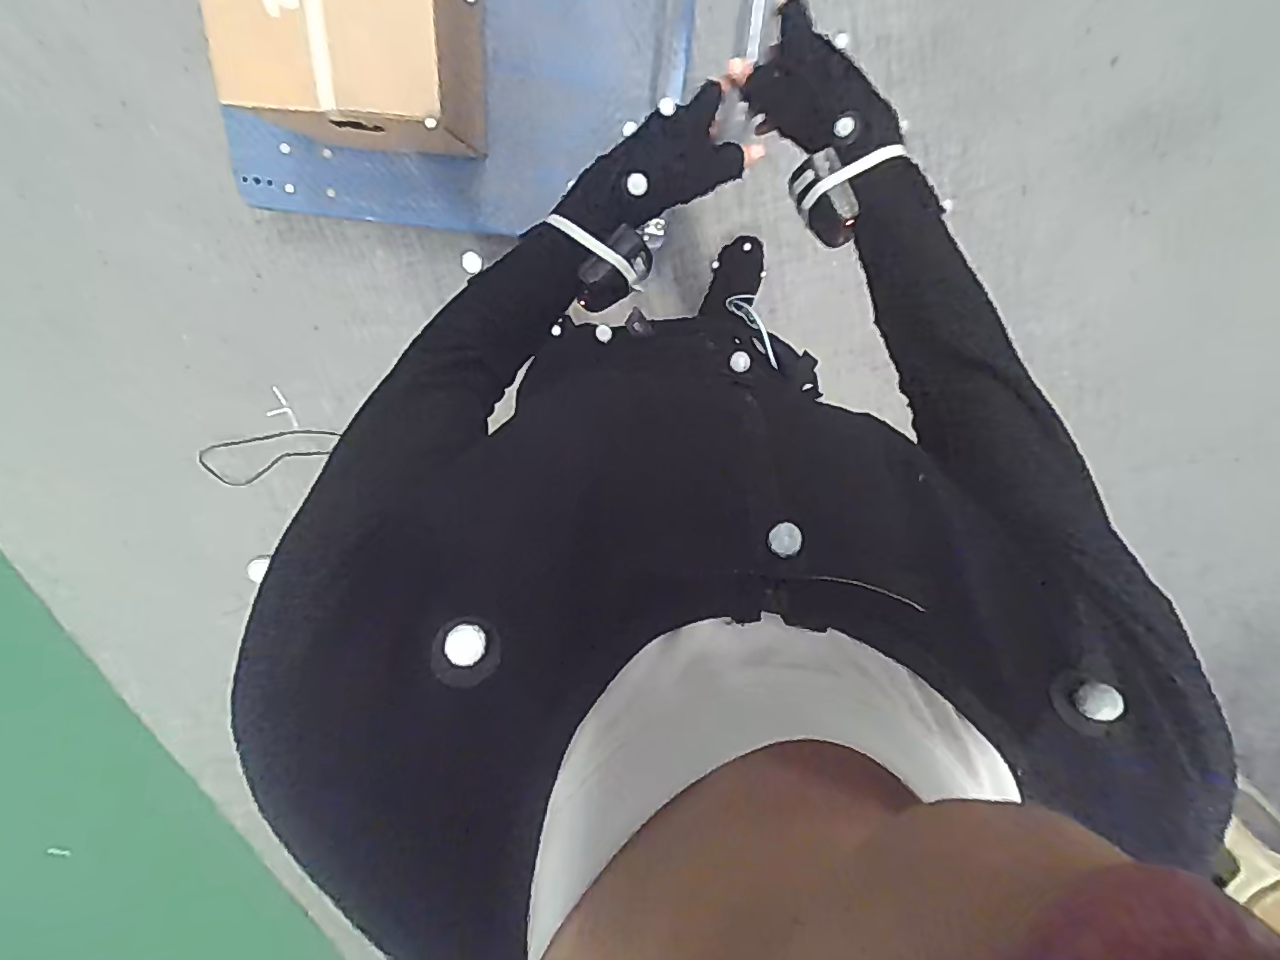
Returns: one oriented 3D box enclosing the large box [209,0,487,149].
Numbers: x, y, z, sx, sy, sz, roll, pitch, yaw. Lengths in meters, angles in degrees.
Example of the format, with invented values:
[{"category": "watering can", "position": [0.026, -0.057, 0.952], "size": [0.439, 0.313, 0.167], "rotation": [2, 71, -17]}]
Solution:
[{"category": "large box", "position": [-0.435, -0.785, 0.847], "size": [0.320, 0.320, 0.408], "rotation": [3, 113, -2]}]
